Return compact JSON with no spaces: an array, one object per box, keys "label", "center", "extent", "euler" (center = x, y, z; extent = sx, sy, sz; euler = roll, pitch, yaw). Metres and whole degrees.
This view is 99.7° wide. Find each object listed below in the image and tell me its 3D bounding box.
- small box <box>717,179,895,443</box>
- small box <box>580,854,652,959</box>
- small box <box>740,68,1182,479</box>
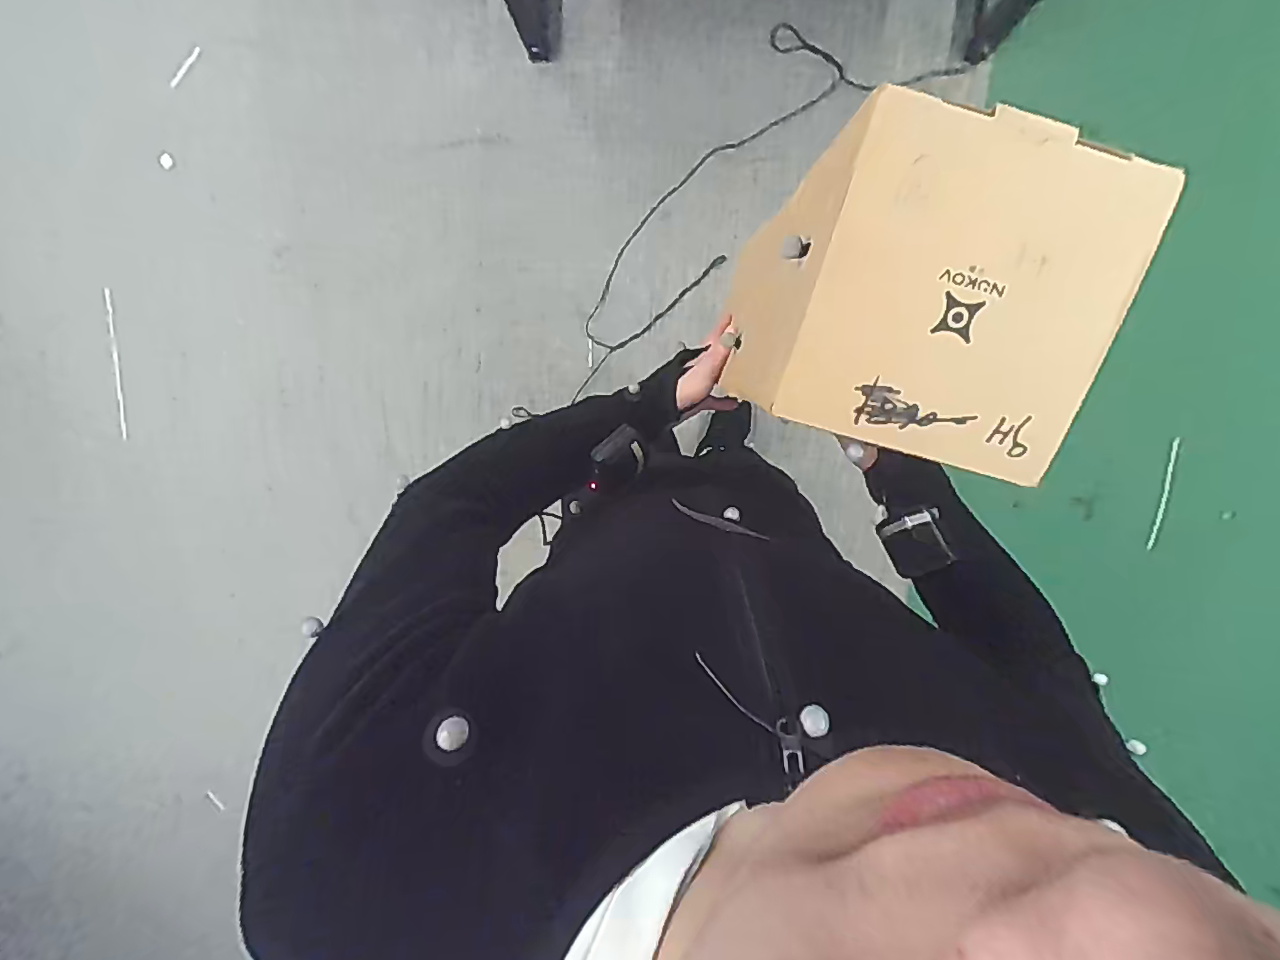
[{"label":"small box","center":[0.179,-0.154,0.525],"extent":[0.168,0.176,0.179],"euler":[17,104,-2]},{"label":"small box","center":[-0.058,1.106,1.389],"extent":[0.168,0.176,0.179],"euler":[2,100,4]},{"label":"small box","center":[0.175,-0.122,0.366],"extent":[0.168,0.176,0.179],"euler":[16,105,-1]}]
